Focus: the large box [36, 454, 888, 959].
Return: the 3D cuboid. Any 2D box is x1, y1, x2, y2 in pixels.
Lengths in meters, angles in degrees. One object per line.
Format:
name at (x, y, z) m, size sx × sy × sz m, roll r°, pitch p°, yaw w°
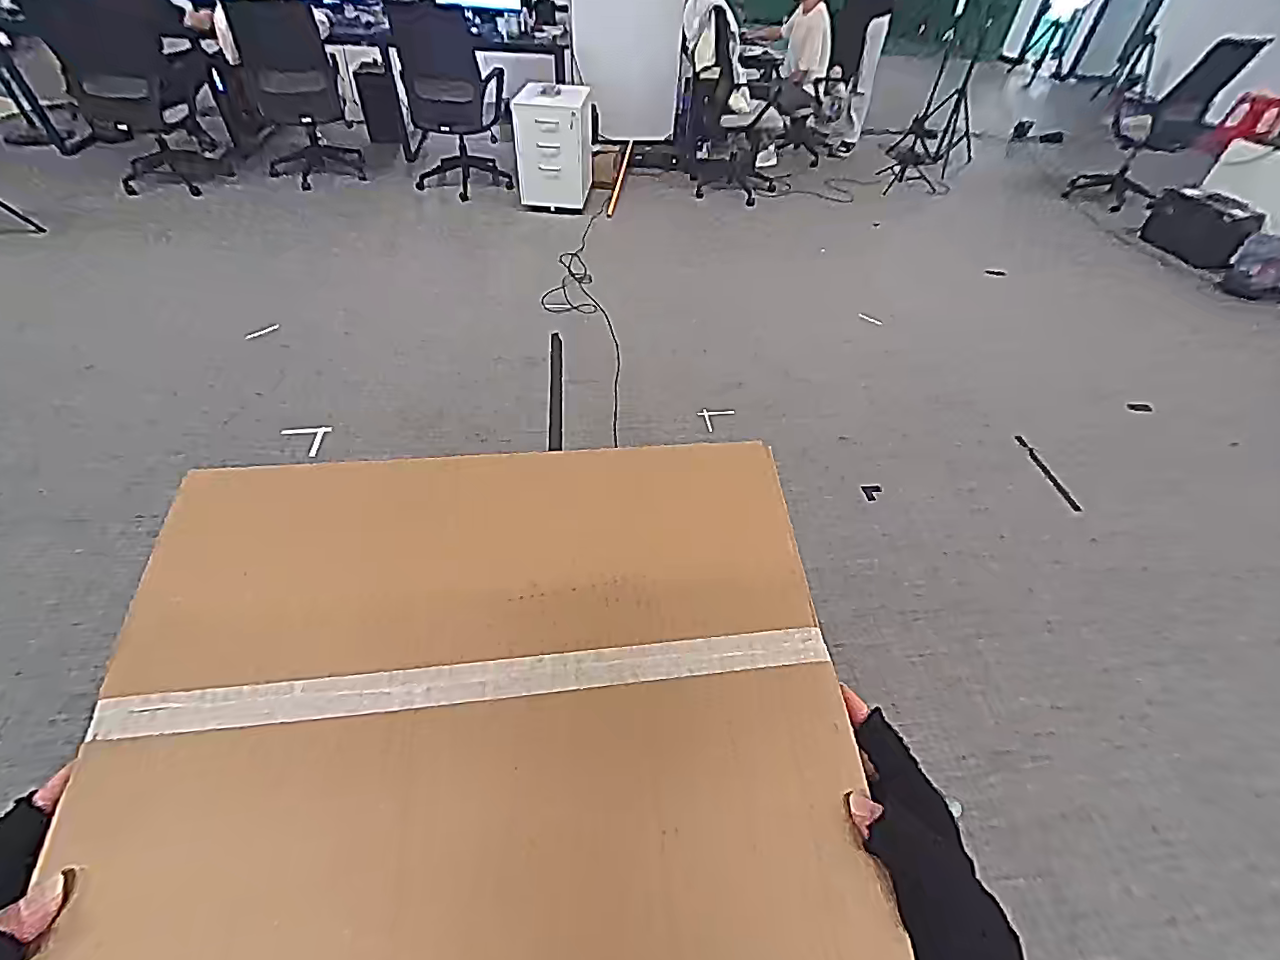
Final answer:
large box at (-0.097, 0.201, 0.444) m, size 0.408 × 0.320 × 0.320 m, roll -4°, pitch 59°, yaw -7°
